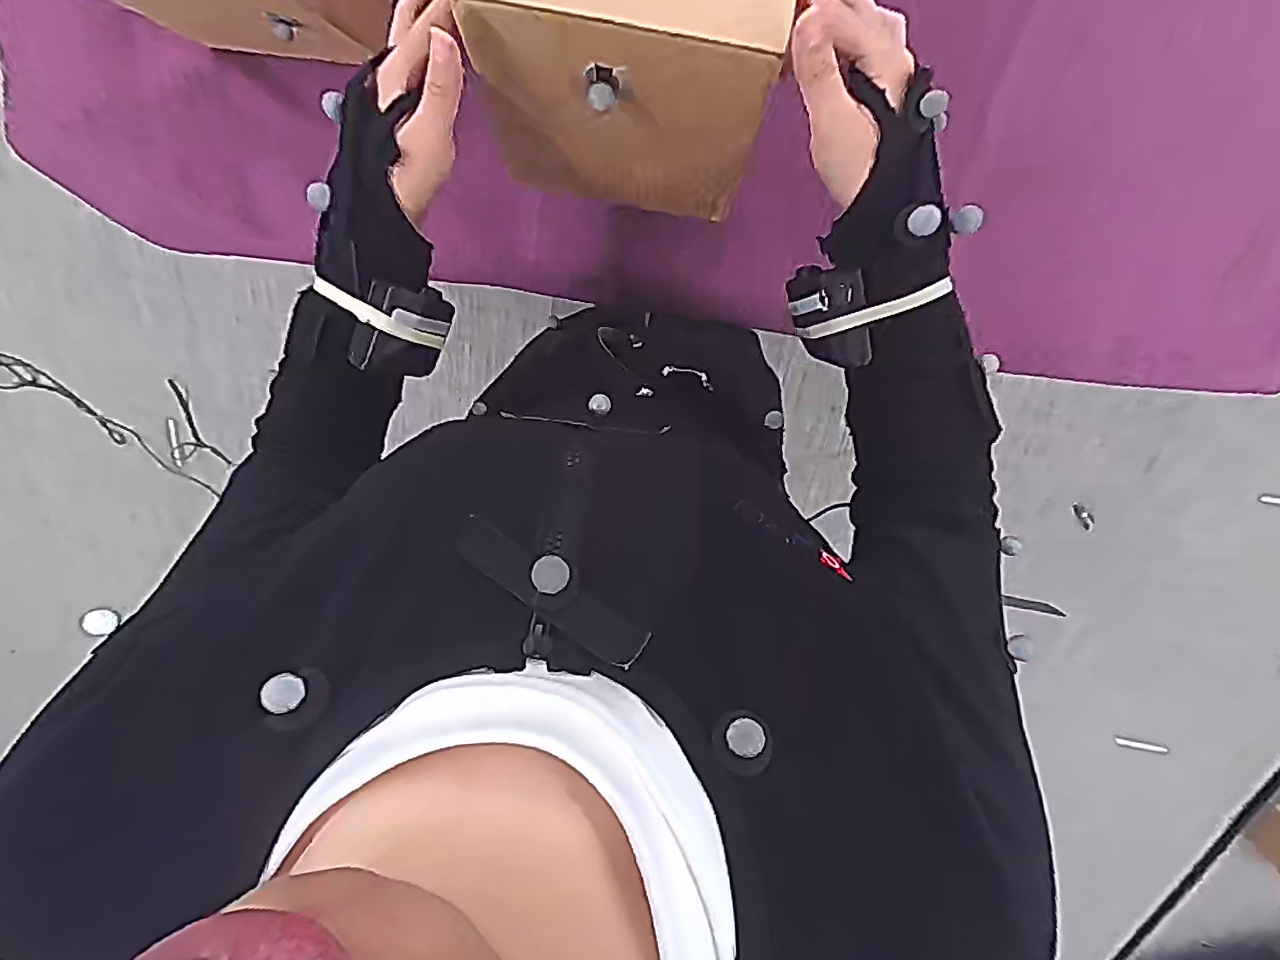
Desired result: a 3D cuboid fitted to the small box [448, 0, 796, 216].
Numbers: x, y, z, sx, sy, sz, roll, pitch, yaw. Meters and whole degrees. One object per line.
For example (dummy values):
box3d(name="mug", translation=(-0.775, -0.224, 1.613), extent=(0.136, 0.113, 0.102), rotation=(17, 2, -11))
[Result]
box3d(name="small box", translation=(0.000, -0.300, 0.350), extent=(0.179, 0.176, 0.168), rotation=(9, 85, 0))
